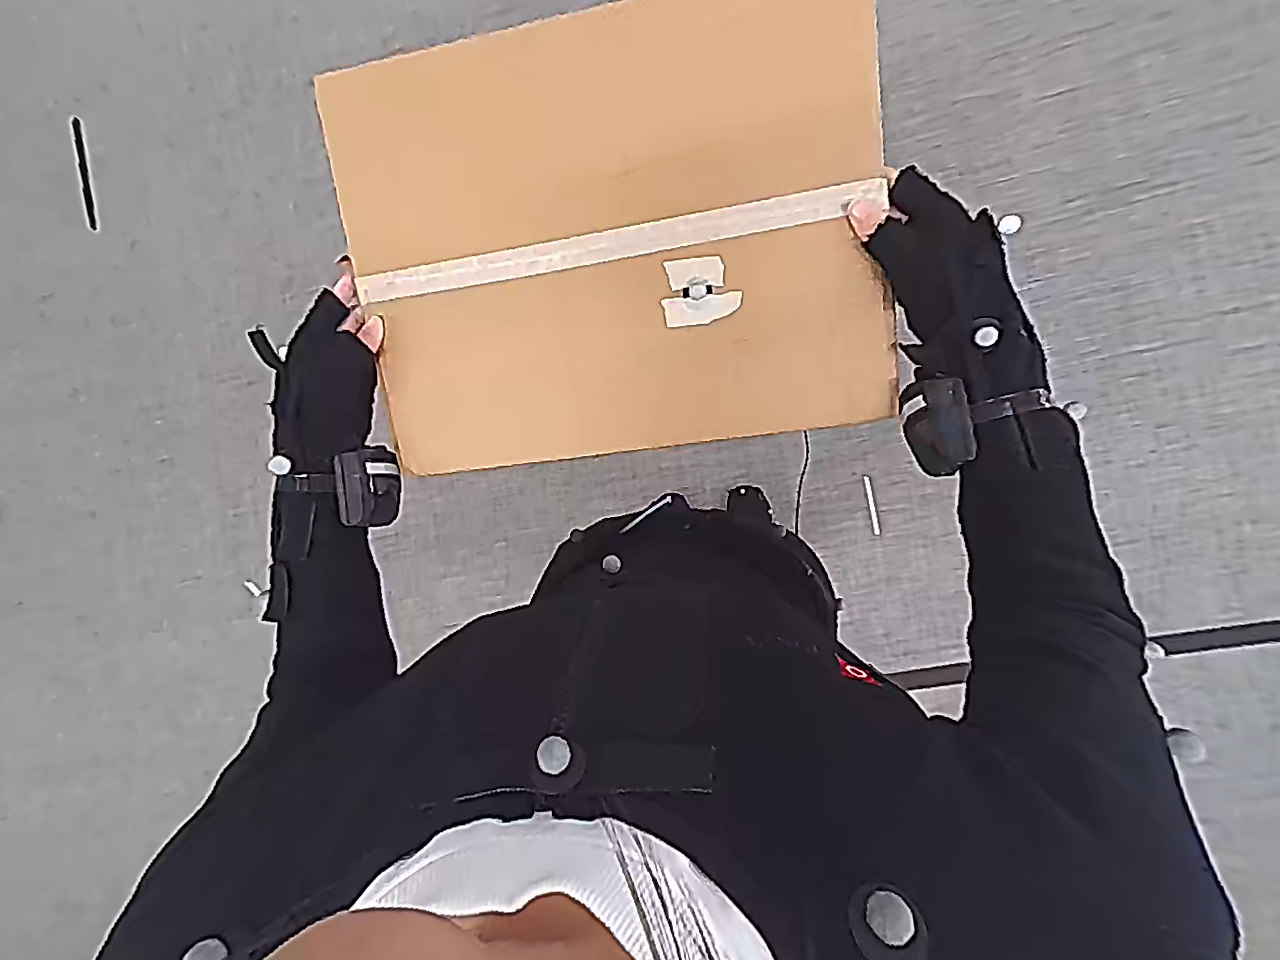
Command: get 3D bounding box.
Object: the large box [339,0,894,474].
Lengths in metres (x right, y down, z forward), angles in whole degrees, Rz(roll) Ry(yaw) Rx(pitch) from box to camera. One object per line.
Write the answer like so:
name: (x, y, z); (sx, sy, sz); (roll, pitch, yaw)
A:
large box: (-0.006, -0.207, 0.566); (0.408, 0.320, 0.320); (-8, 100, 8)
